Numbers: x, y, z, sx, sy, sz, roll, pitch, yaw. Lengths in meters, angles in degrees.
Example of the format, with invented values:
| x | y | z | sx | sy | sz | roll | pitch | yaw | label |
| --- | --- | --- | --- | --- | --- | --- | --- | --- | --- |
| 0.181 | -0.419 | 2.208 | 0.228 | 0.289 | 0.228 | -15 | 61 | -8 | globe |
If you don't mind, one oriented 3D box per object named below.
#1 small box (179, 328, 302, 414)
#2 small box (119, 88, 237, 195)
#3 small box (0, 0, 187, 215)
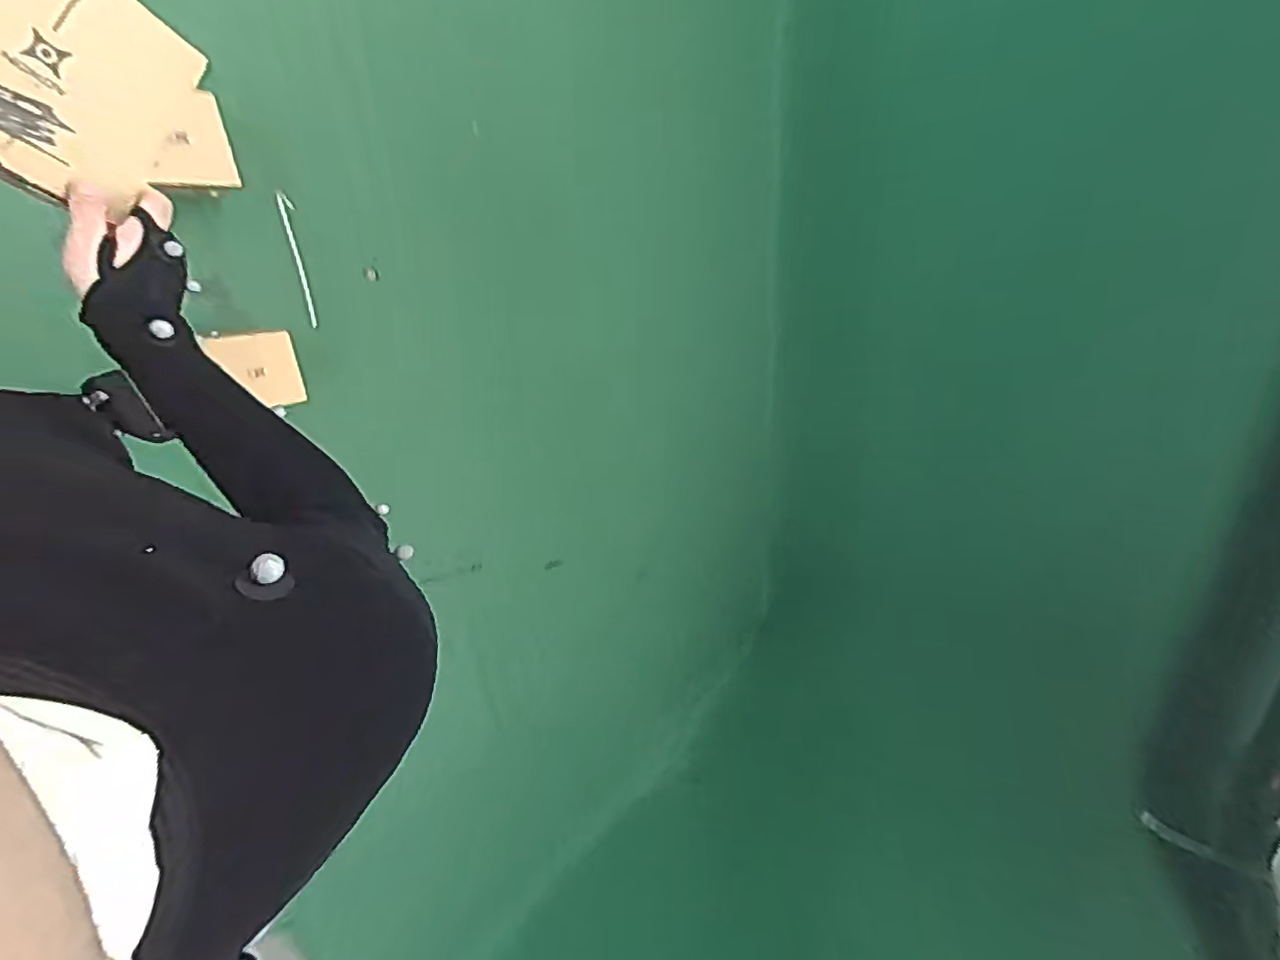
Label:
| x | y | z | sx | sy | sz | roll | pitch | yaw | label |
| --- | --- | --- | --- | --- | --- | --- | --- | --- | --- |
| -0.939 | -0.263 | 1.273 | 0.179 | 0.176 | 0.168 | -24 | 121 | -42 | small box |
| -0.968 | -0.684 | 1.096 | 0.179 | 0.176 | 0.168 | -26 | 120 | -43 | small box |
| -0.525 | -0.349 | 0.433 | 0.168 | 0.176 | 0.179 | 26 | 88 | -63 | small box |
